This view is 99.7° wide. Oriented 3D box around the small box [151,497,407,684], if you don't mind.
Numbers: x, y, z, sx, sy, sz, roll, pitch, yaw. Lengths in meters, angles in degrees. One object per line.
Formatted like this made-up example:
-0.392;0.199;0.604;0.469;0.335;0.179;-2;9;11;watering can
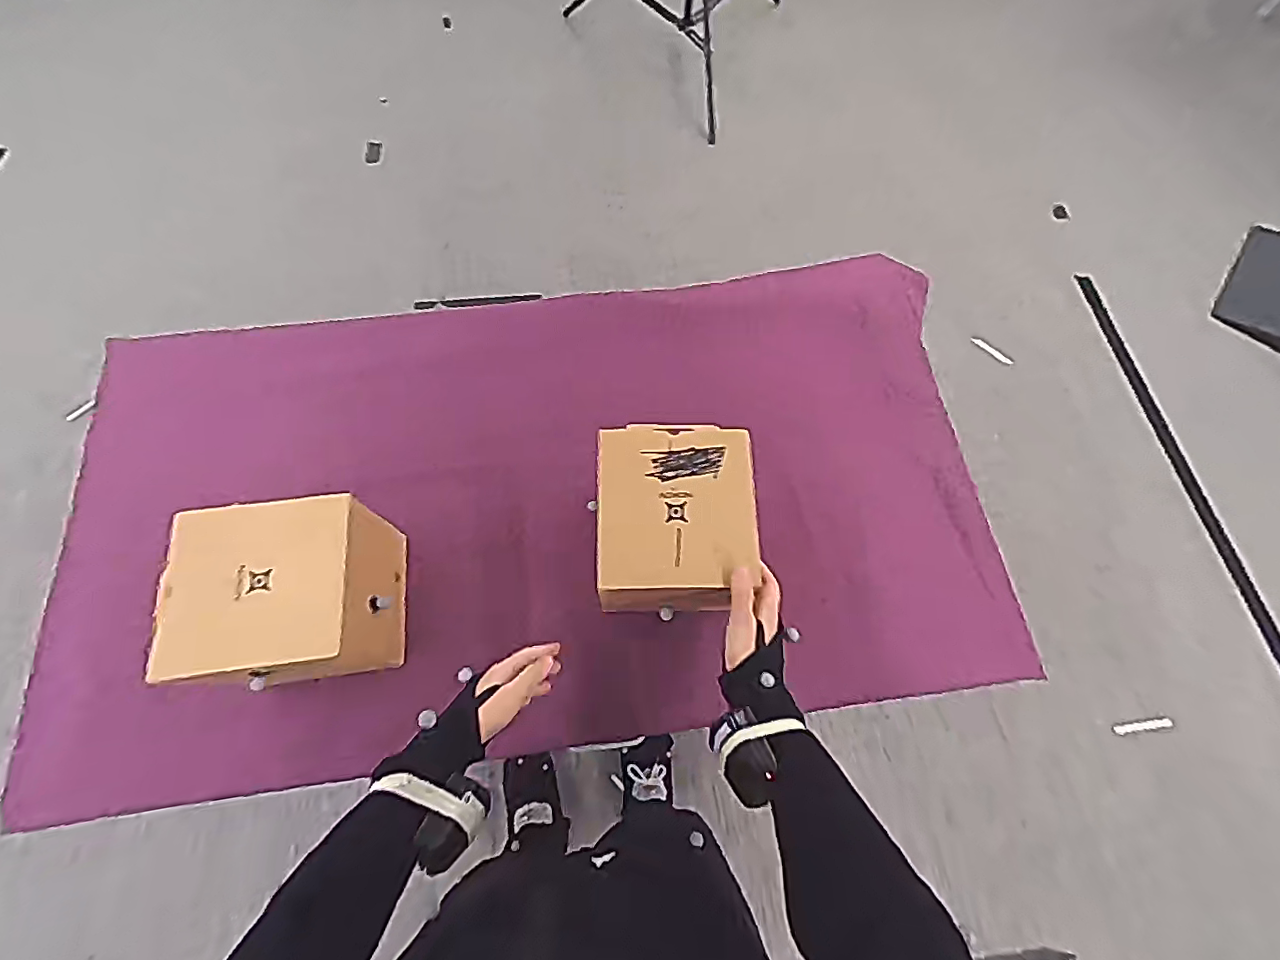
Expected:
-0.377;0.130;0.605;0.179;0.176;0.168;-7;69;-4;small box

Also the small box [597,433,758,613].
0.035;0.058;0.643;0.168;0.176;0.179;0;70;-1;small box
